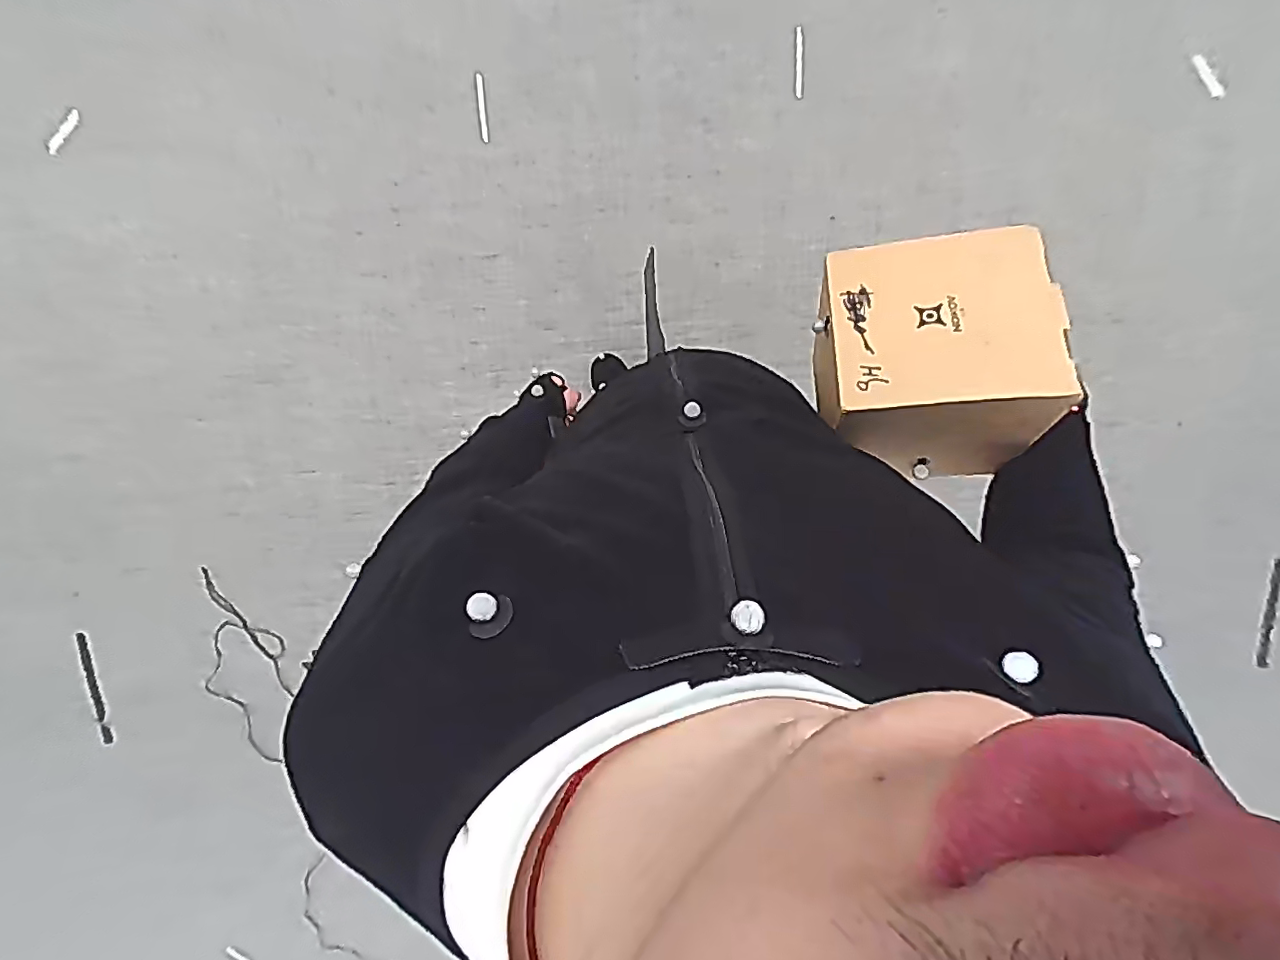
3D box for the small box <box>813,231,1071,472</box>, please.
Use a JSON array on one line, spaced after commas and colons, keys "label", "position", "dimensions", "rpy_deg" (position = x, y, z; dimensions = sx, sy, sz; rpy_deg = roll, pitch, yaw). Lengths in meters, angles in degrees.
[{"label": "small box", "position": [0.275, -0.114, 0.541], "dimensions": [0.179, 0.176, 0.168], "rpy_deg": [-2, 69, 13]}]
